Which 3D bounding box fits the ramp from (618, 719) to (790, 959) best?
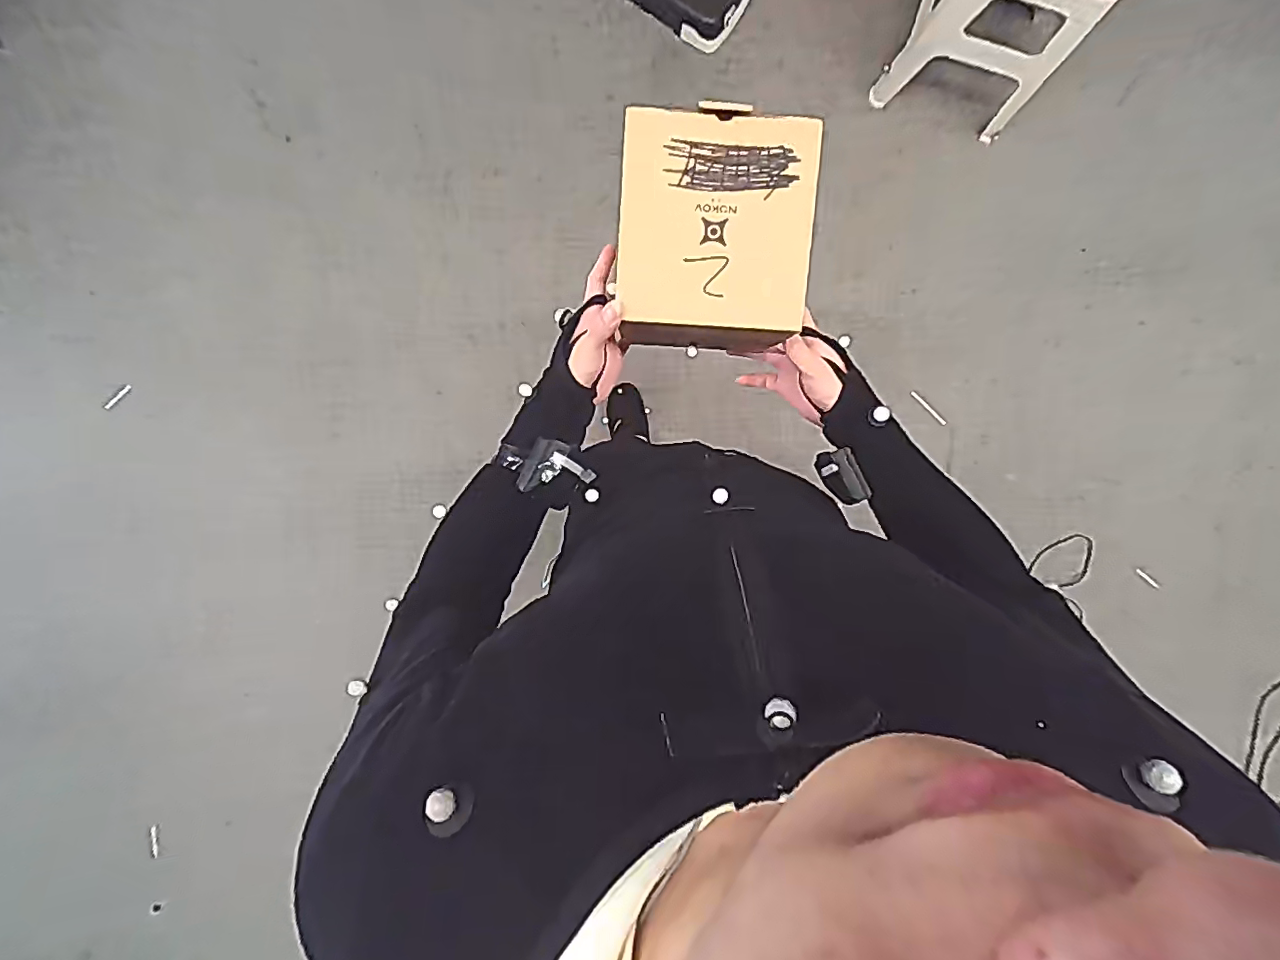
[{"bbox_3d":[0.194,1.247,1.633,0.509,0.206,0.991,-4,94,1],"label":"ramp"}]
